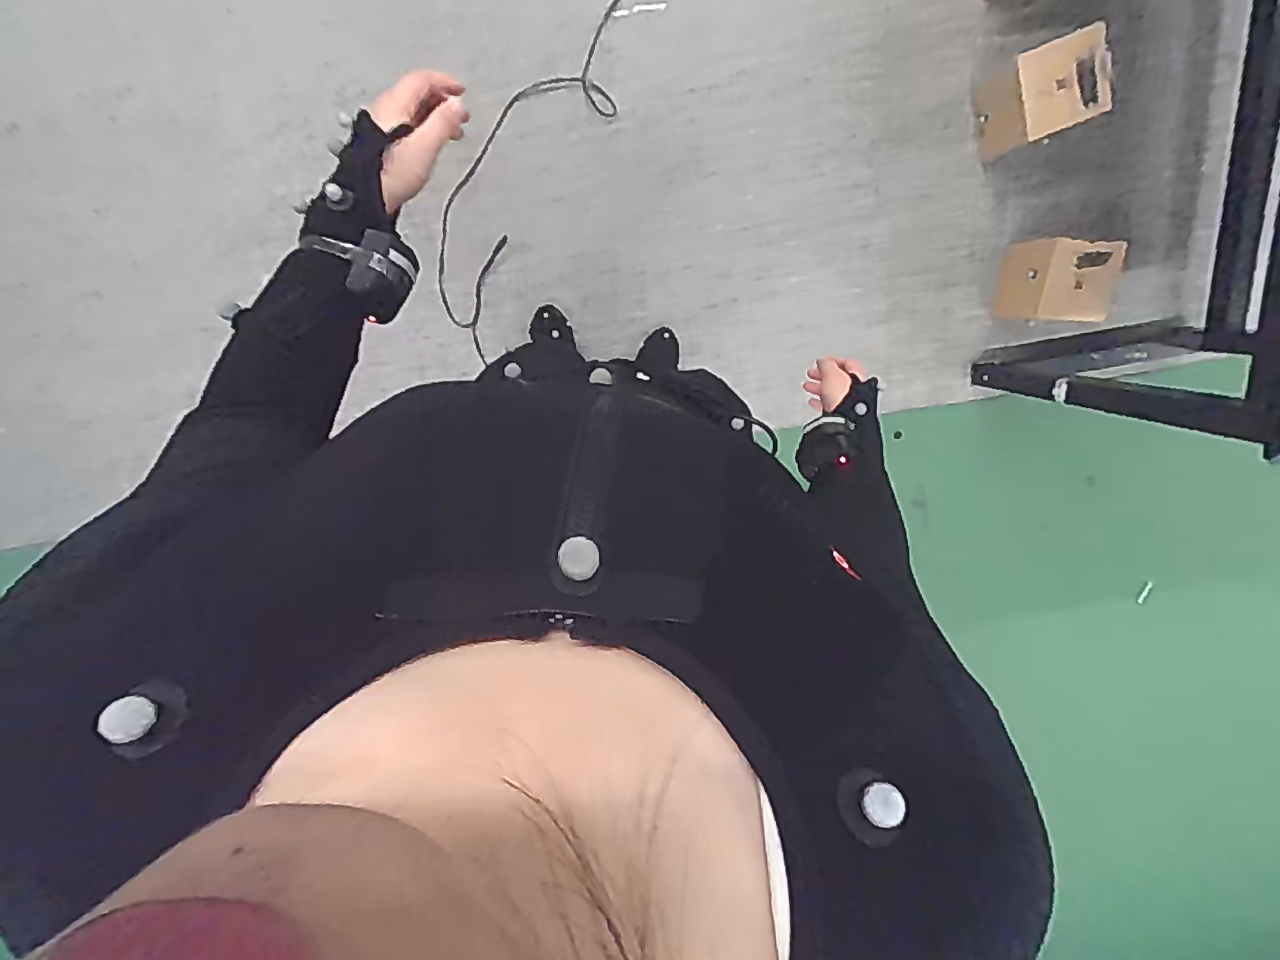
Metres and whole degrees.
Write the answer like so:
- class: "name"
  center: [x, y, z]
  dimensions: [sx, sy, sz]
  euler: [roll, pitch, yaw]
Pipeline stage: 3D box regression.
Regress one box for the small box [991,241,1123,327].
- class: "small box"
  center: [0.989, -0.468, 1.303]
  dimensions: [0.168, 0.176, 0.179]
  euler: [3, 109, -2]
